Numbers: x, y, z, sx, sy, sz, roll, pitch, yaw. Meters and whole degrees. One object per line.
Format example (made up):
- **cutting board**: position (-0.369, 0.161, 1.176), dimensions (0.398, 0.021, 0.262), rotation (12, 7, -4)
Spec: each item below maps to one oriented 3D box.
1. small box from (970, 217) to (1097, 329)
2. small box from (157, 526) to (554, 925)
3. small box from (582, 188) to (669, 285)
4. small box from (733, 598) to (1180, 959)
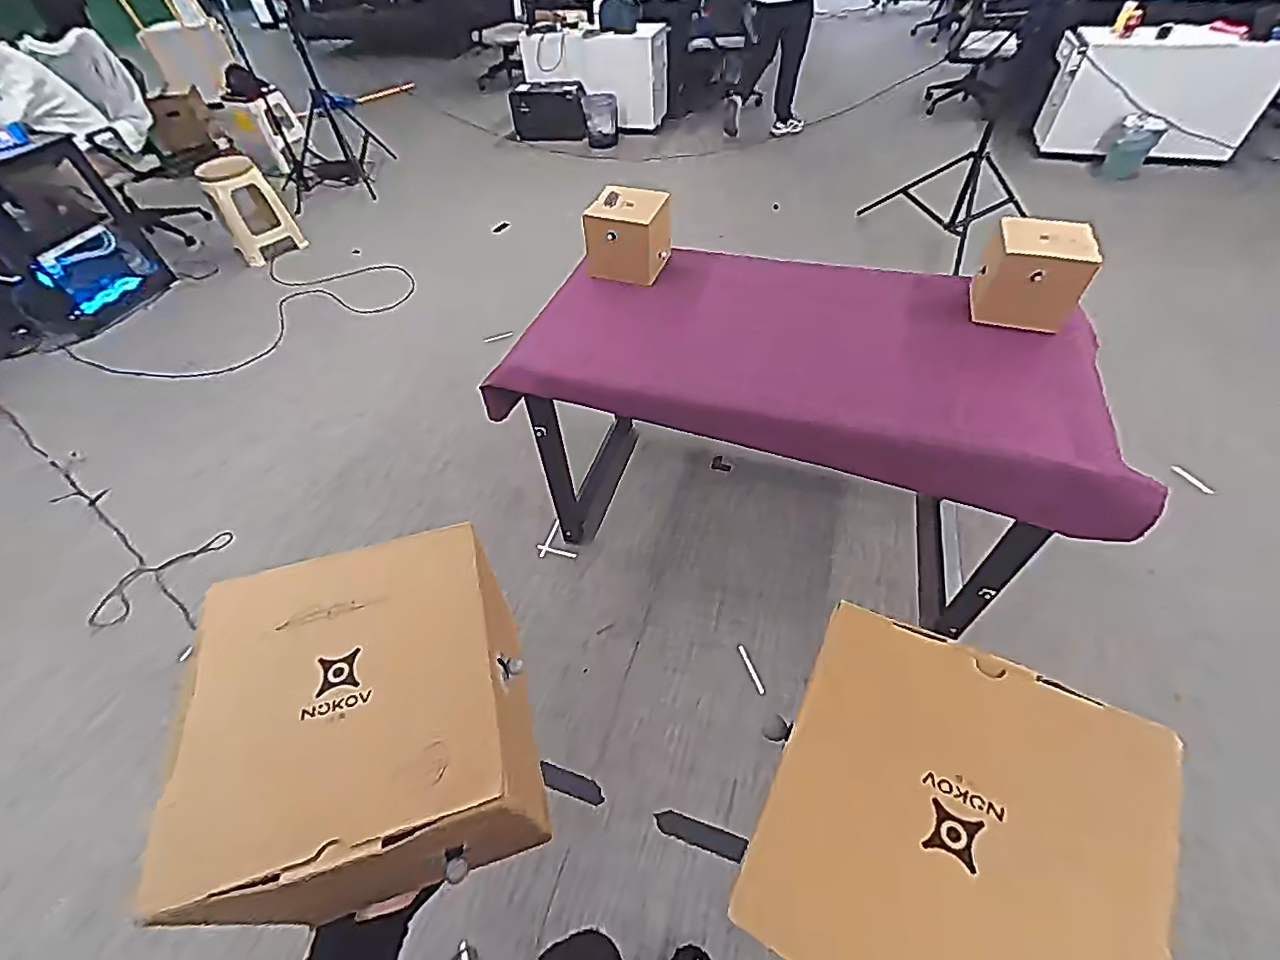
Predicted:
- **small box**: position (0.850, -0.455, 1.193), dimensions (0.179, 0.176, 0.168), rotation (13, 53, 14)
- **small box**: position (-0.161, 0.164, 0.365), dimensions (0.168, 0.176, 0.179), rotation (-14, 51, -12)
- **small box**: position (-0.031, -0.630, 1.402), dimensions (0.179, 0.176, 0.168), rotation (15, 55, 14)
- **small box**: position (0.168, 0.207, 0.325), dimensions (0.168, 0.176, 0.179), rotation (19, 60, 24)
